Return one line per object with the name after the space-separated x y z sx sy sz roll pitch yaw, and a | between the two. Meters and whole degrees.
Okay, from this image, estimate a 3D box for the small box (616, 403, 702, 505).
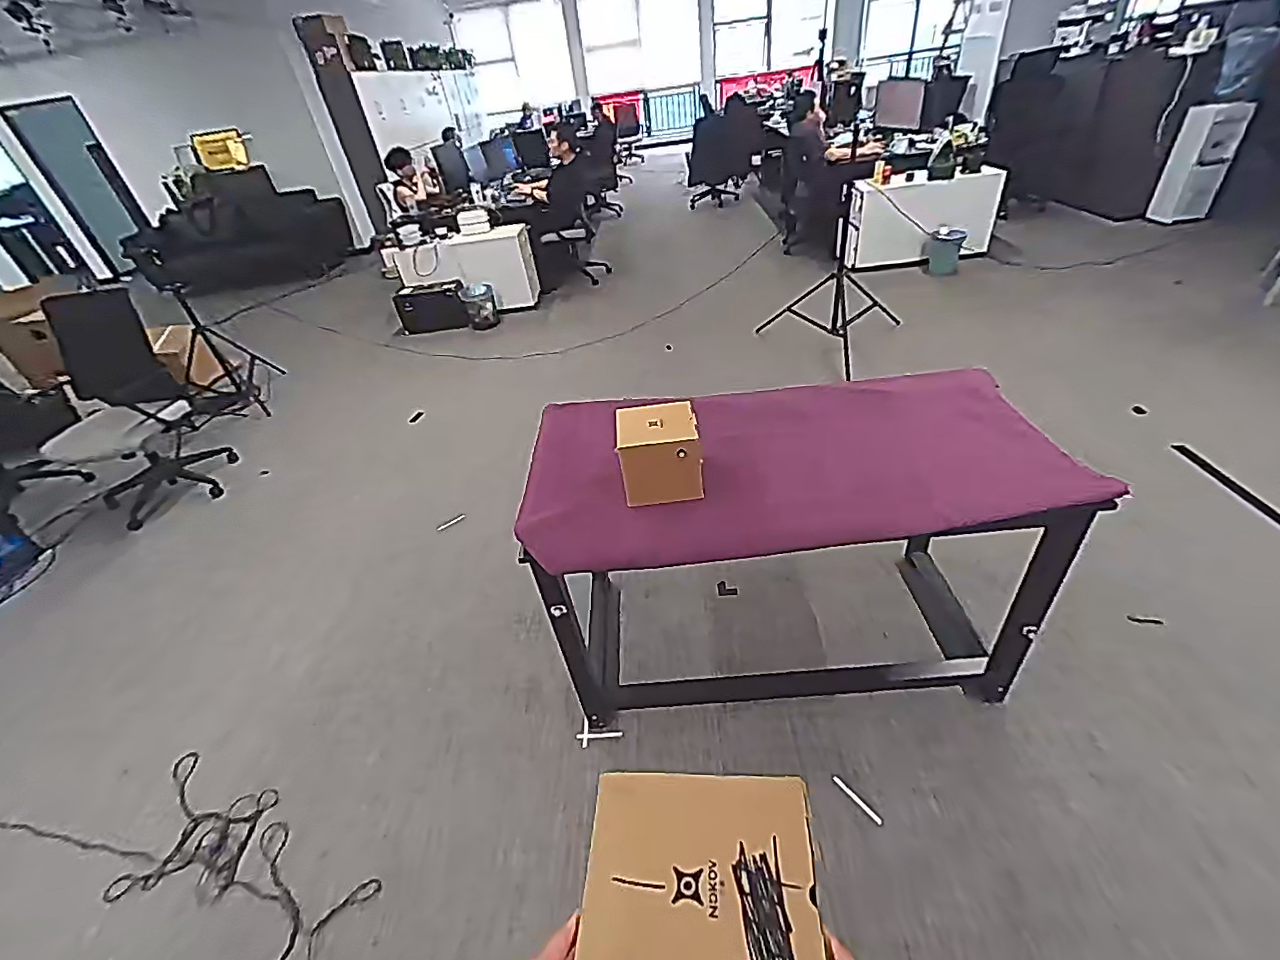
0.043 -0.056 1.250 0.179 0.176 0.168 -7 37 1 | small box

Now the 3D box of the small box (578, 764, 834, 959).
0.056 0.363 0.451 0.179 0.176 0.168 -3 36 9 | small box
